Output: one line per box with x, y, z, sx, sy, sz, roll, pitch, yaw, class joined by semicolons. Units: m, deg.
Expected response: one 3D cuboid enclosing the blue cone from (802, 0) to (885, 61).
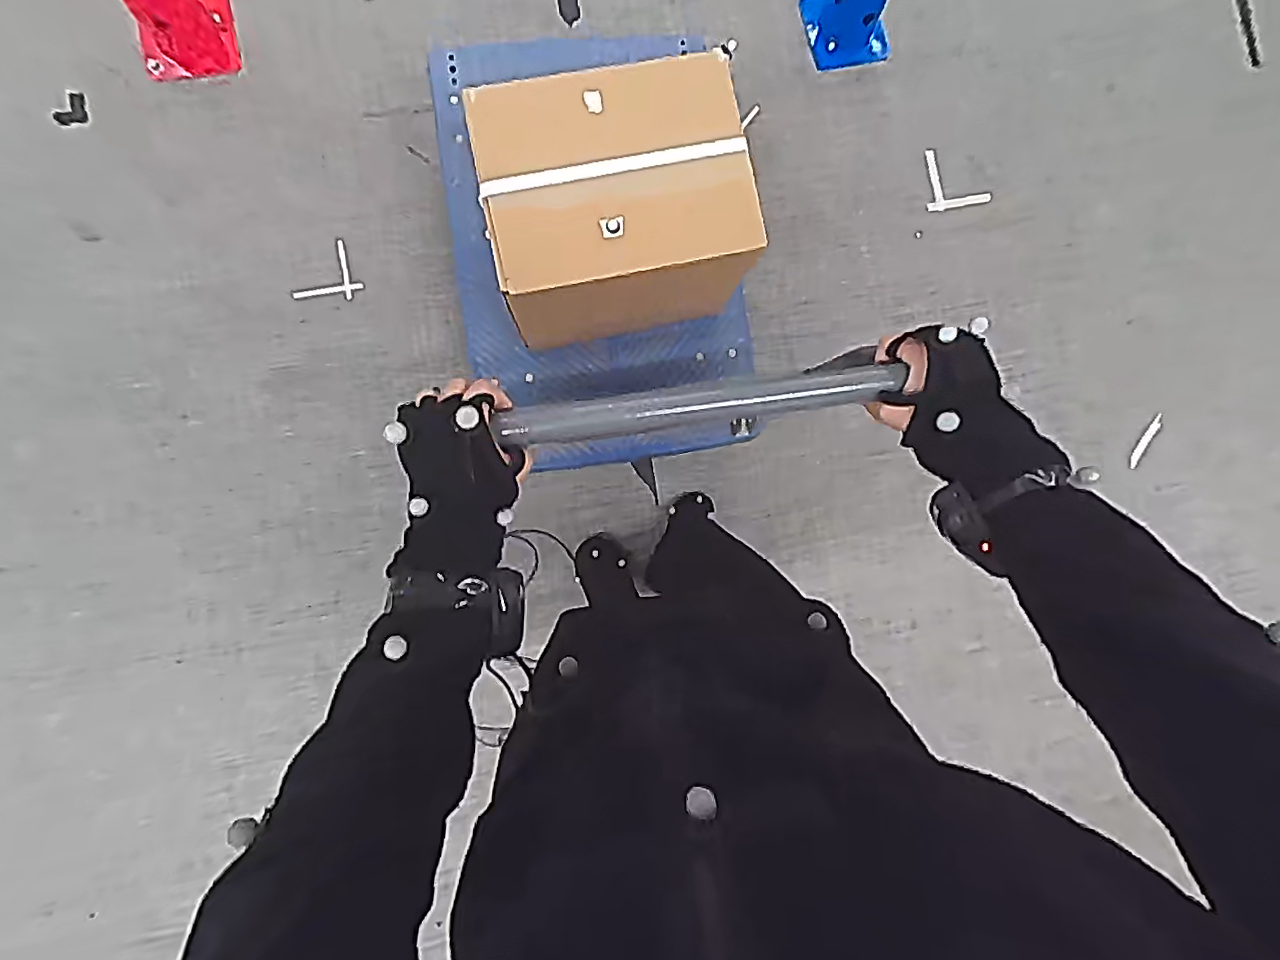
0.529;-1.158;1.194;0.193;0.380;0.192;-14;88;-6;blue cone
